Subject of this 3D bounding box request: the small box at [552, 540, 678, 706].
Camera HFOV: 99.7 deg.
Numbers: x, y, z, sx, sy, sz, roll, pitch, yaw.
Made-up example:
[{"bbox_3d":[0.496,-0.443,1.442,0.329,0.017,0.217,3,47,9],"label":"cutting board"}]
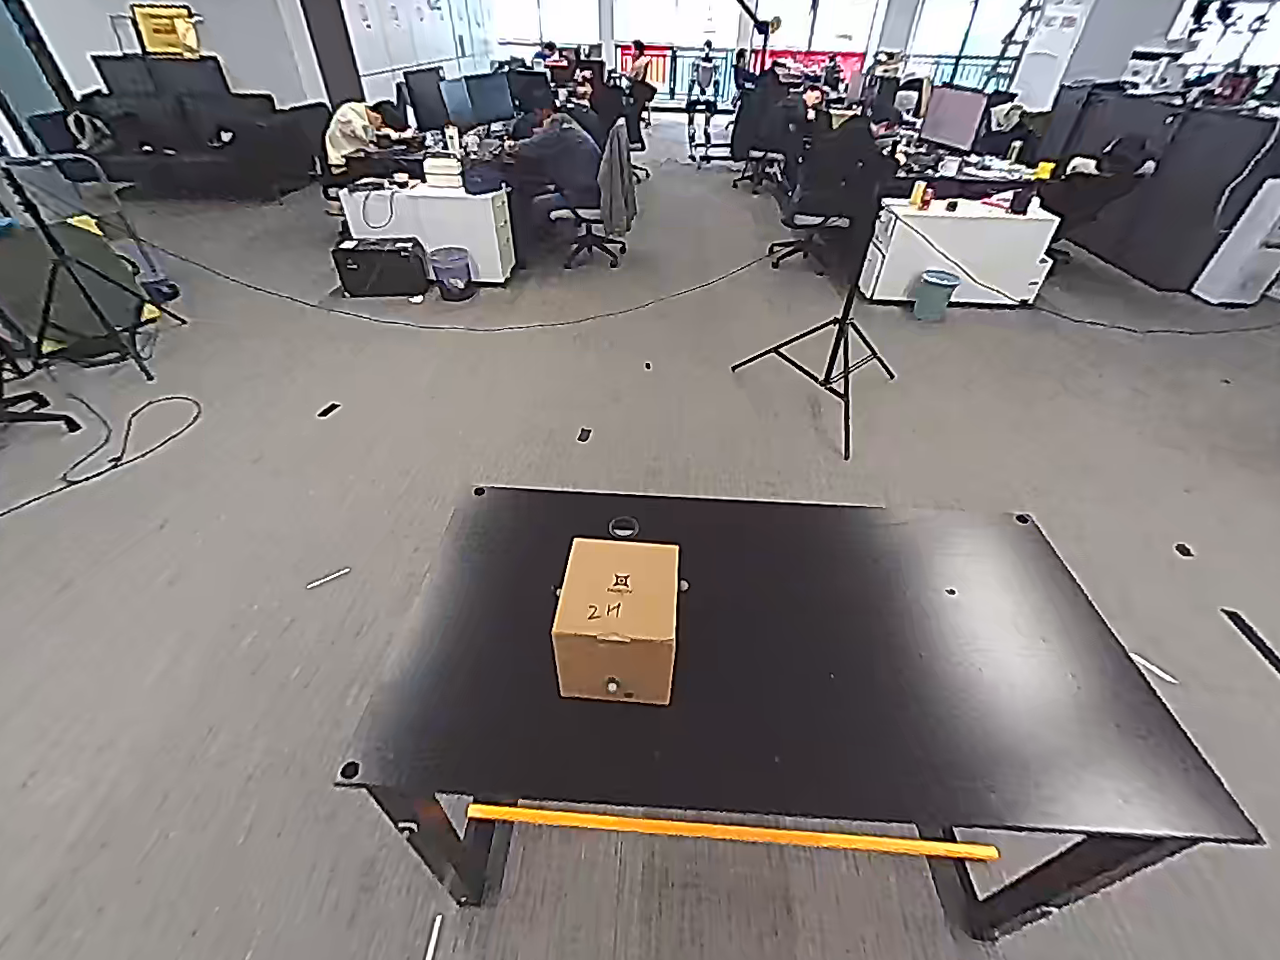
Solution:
[{"bbox_3d":[-0.032,0.217,0.830,0.168,0.176,0.179,3,40,3],"label":"small box"}]
